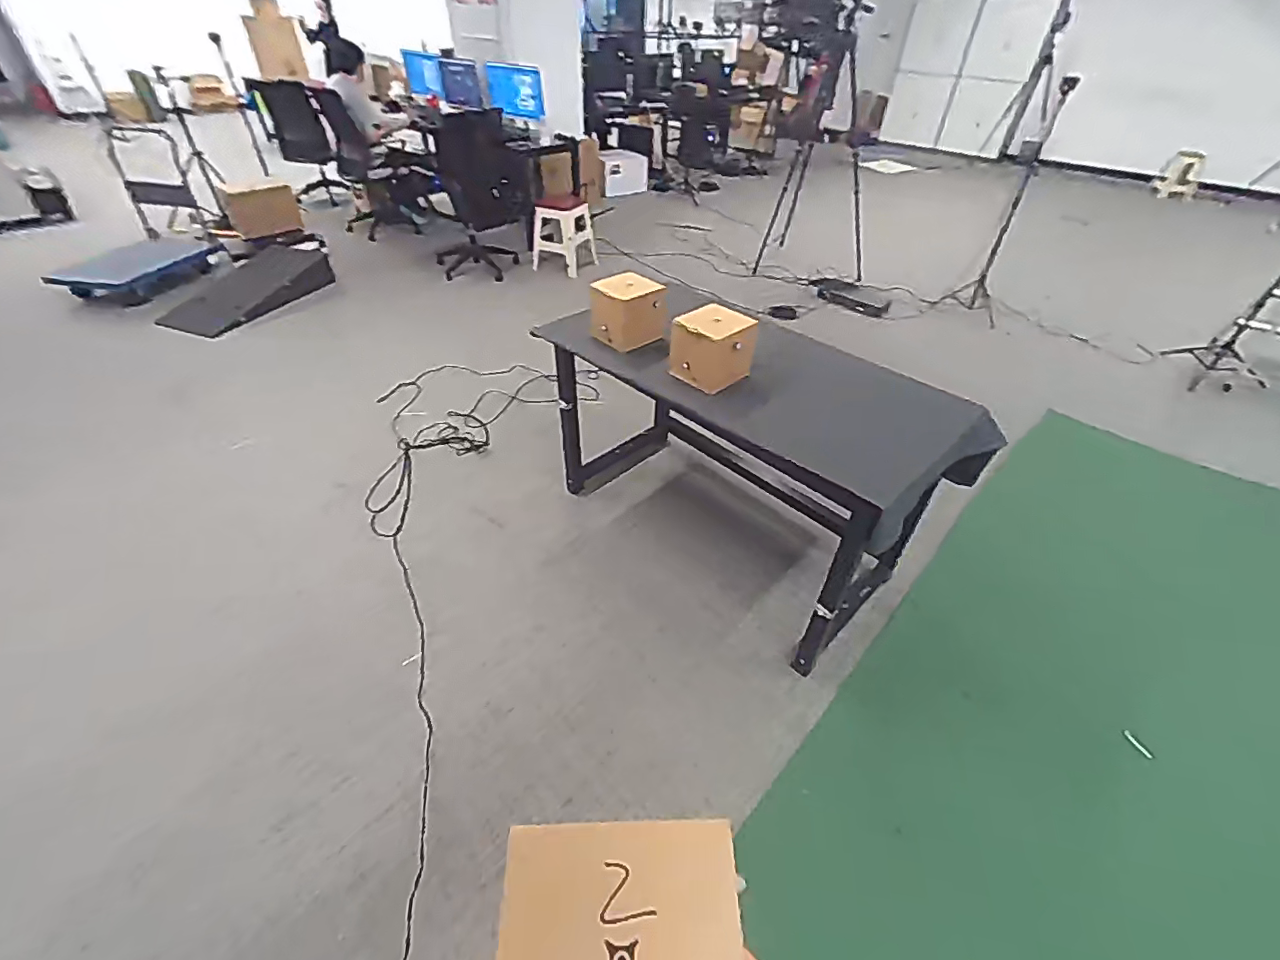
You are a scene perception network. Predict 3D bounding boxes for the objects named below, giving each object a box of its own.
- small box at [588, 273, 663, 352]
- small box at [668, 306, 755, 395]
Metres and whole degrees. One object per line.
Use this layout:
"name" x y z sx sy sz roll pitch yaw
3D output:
"small box" -0.050 -0.526 1.692 0.179 0.176 0.168 -29 50 -33
"small box" 0.194 -0.368 1.532 0.179 0.176 0.168 -31 52 -33
